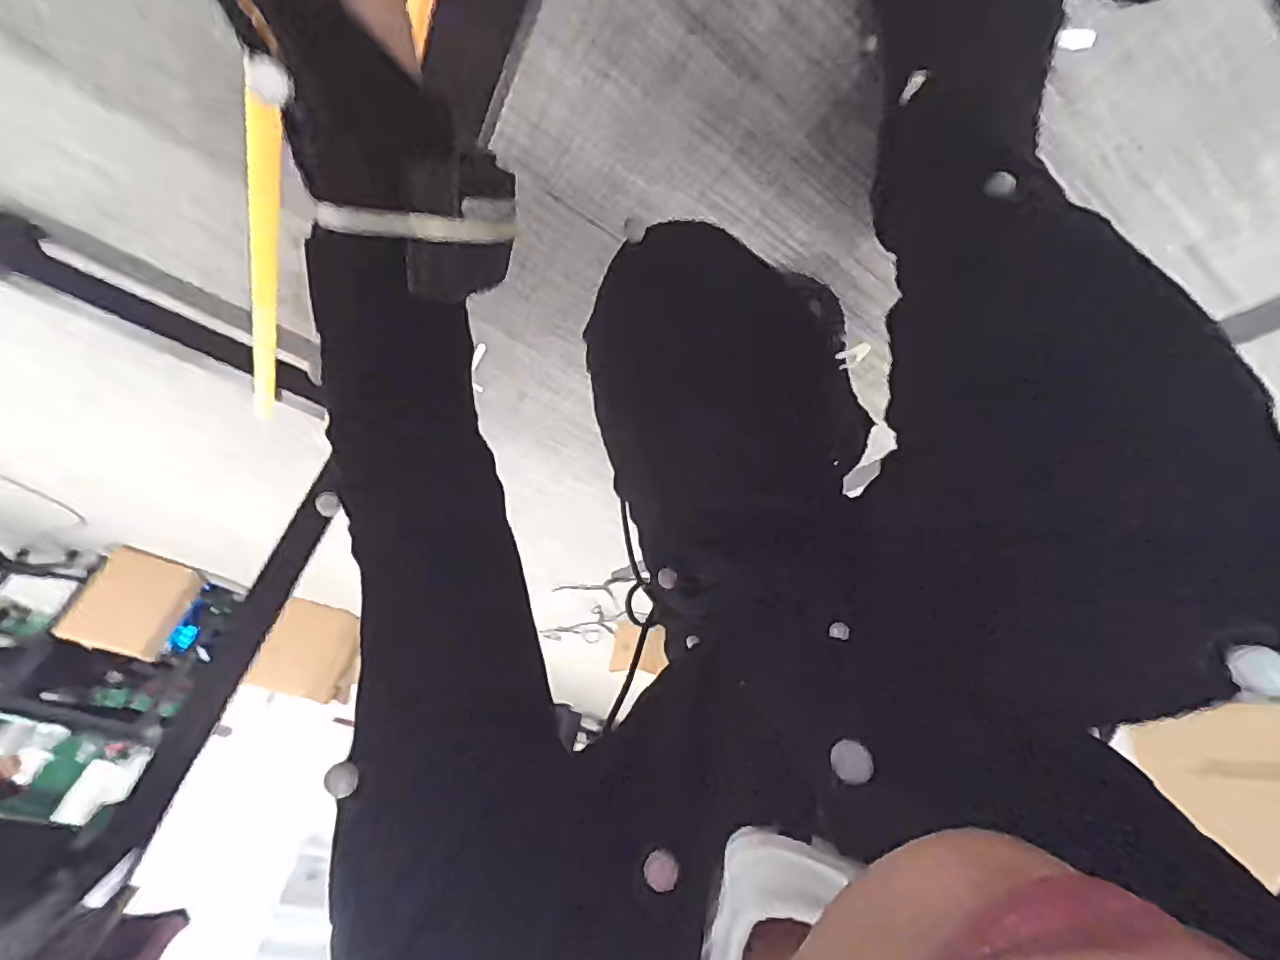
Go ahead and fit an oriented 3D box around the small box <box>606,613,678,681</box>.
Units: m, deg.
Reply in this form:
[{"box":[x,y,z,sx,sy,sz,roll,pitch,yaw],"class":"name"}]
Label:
[{"box":[0.011,0.563,1.815,0.168,0.176,0.179,26,146,-21],"class":"small box"}]
